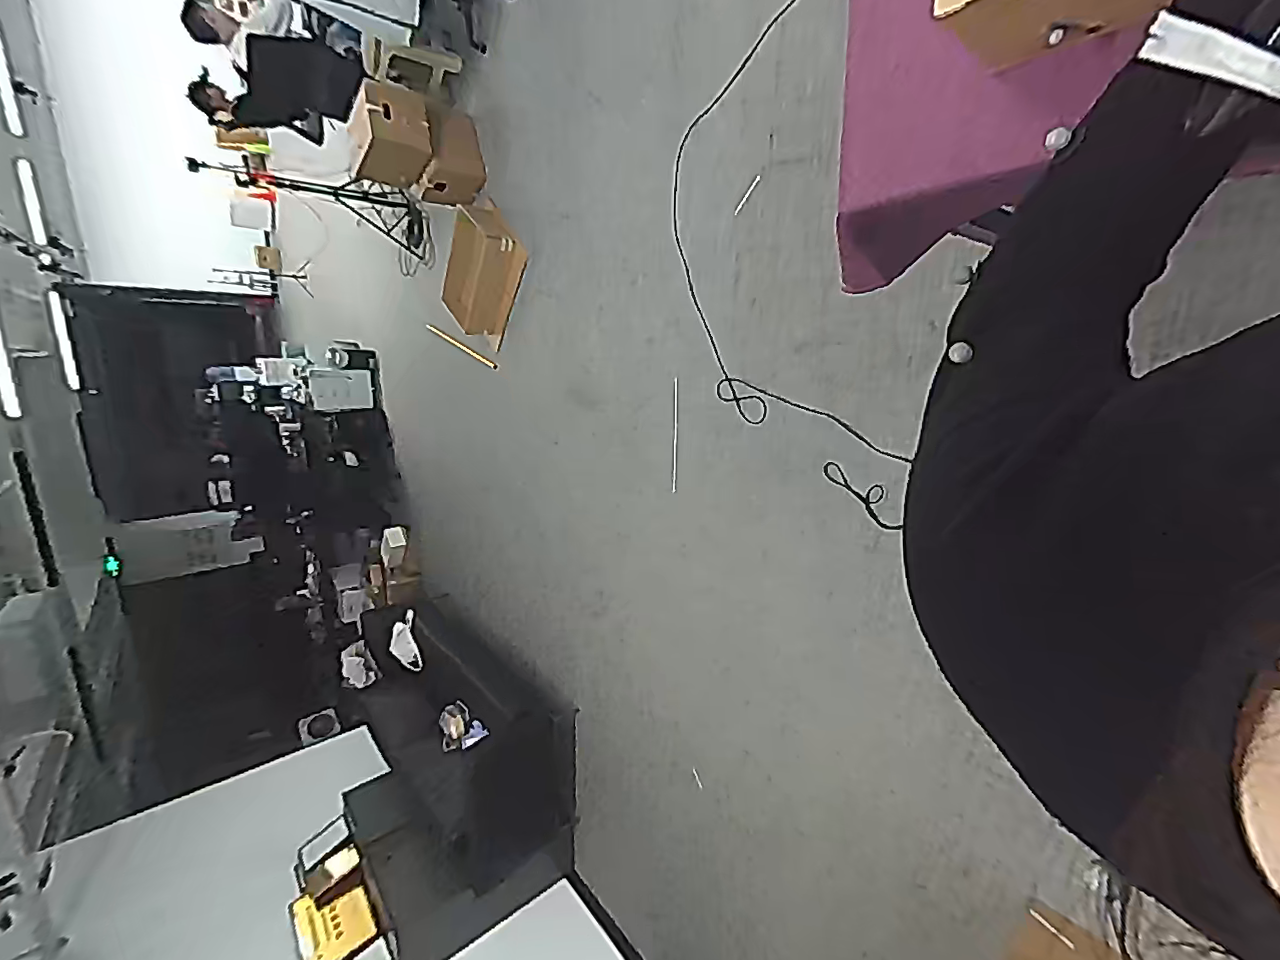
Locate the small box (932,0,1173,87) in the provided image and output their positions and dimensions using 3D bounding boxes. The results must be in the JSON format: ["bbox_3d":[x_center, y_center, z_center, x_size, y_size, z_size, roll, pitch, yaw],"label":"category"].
[{"bbox_3d":[0.422,-0.542,0.539,0.168,0.176,0.179,15,108,49],"label":"small box"}]
